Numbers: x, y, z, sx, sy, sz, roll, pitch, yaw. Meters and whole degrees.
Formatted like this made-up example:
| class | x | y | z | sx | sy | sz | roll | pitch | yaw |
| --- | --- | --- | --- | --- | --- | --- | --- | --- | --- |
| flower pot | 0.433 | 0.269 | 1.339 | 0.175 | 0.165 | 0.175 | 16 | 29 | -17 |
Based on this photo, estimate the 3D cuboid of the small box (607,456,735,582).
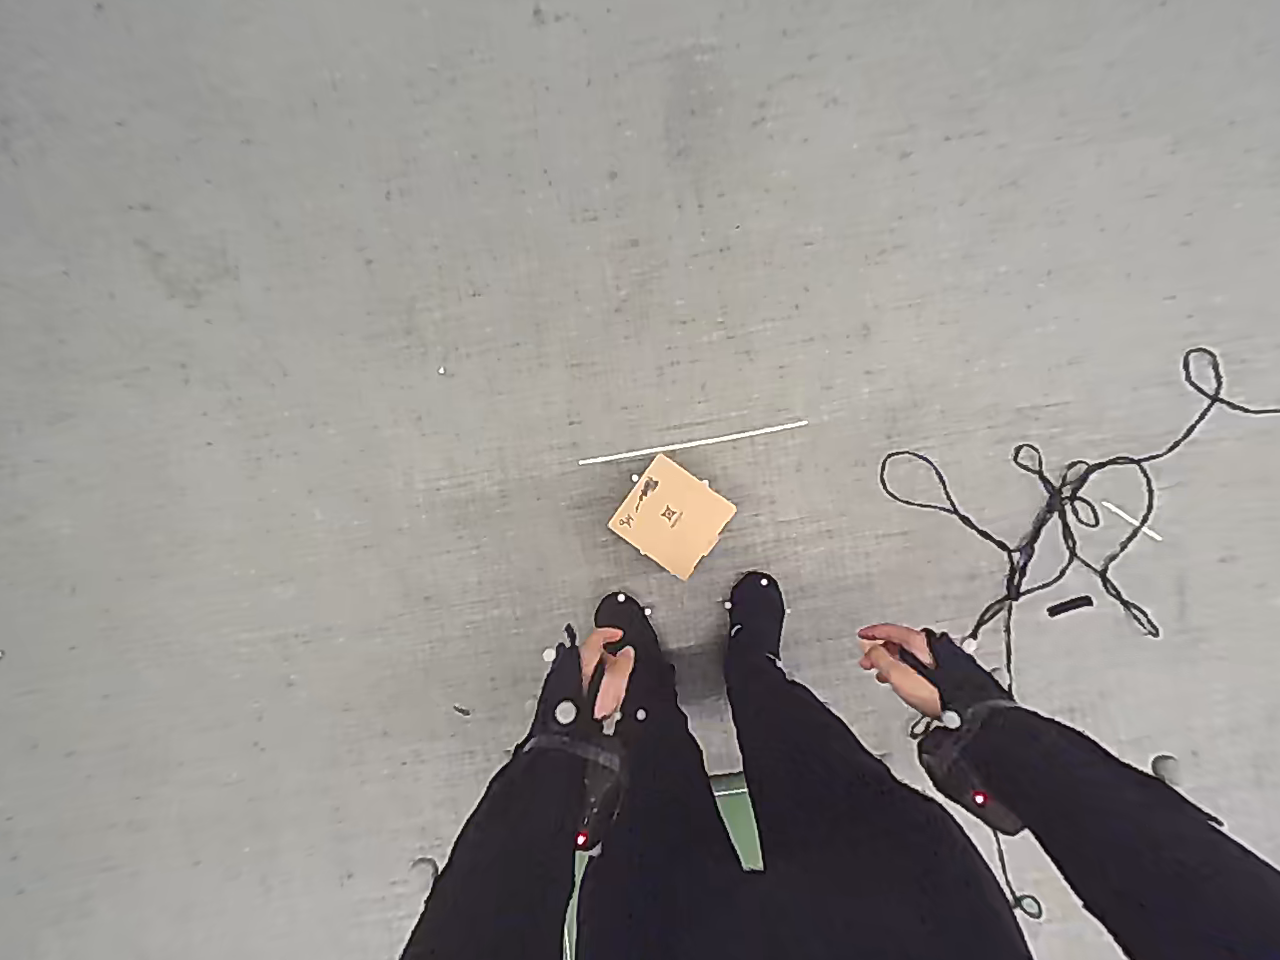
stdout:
| class | x | y | z | sx | sy | sz | roll | pitch | yaw |
| --- | --- | --- | --- | --- | --- | --- | --- | --- | --- |
| small box | 0.057 | 0.069 | 1.048 | 0.179 | 0.176 | 0.168 | 36 | 90 | 1 |
